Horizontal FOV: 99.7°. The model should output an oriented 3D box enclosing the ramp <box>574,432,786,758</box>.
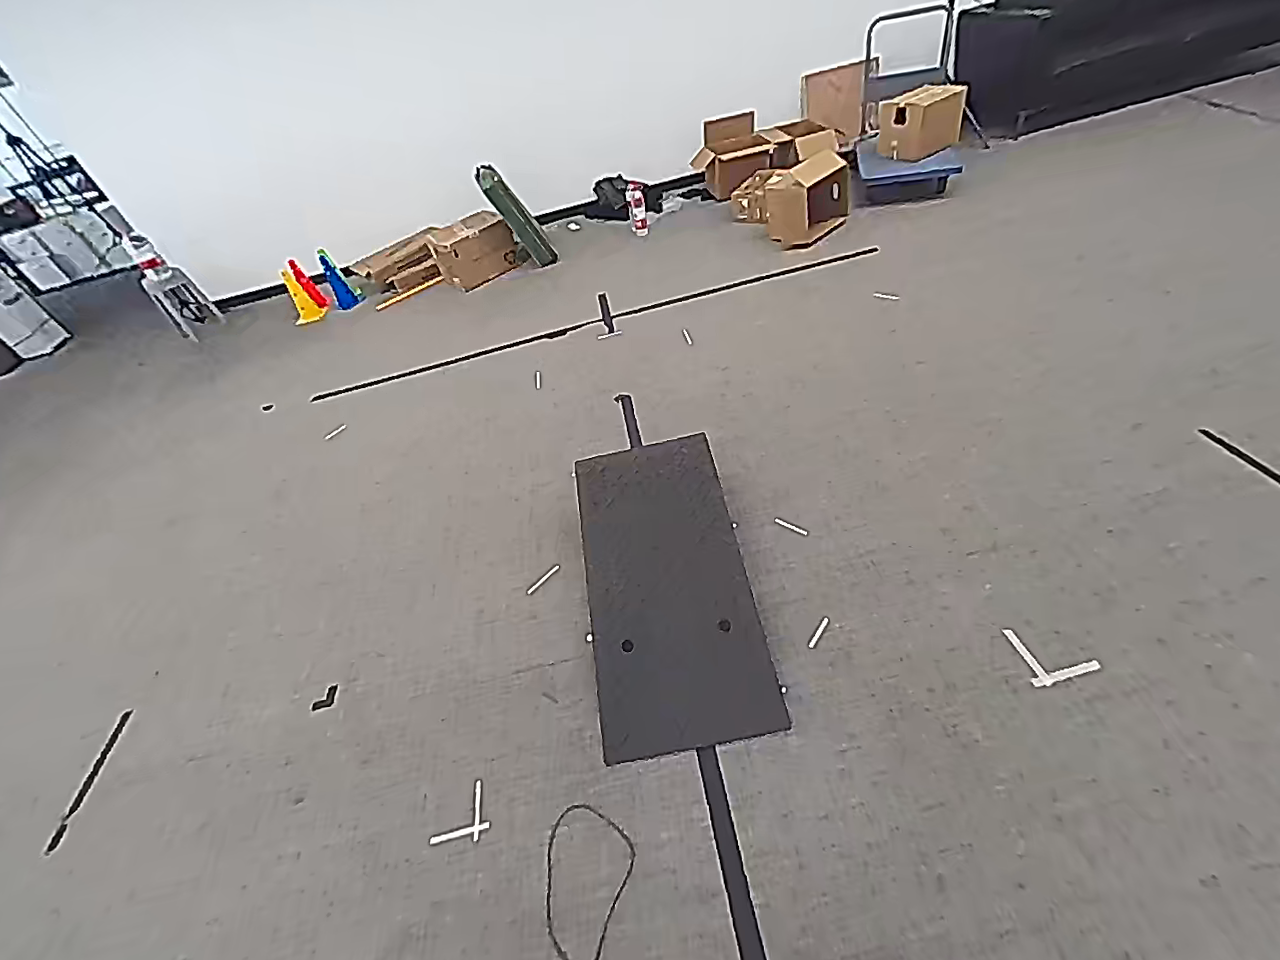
[{"bbox_3d":[0.071,0.277,1.681,0.509,0.206,0.991,-13,44,1],"label":"ramp"}]
